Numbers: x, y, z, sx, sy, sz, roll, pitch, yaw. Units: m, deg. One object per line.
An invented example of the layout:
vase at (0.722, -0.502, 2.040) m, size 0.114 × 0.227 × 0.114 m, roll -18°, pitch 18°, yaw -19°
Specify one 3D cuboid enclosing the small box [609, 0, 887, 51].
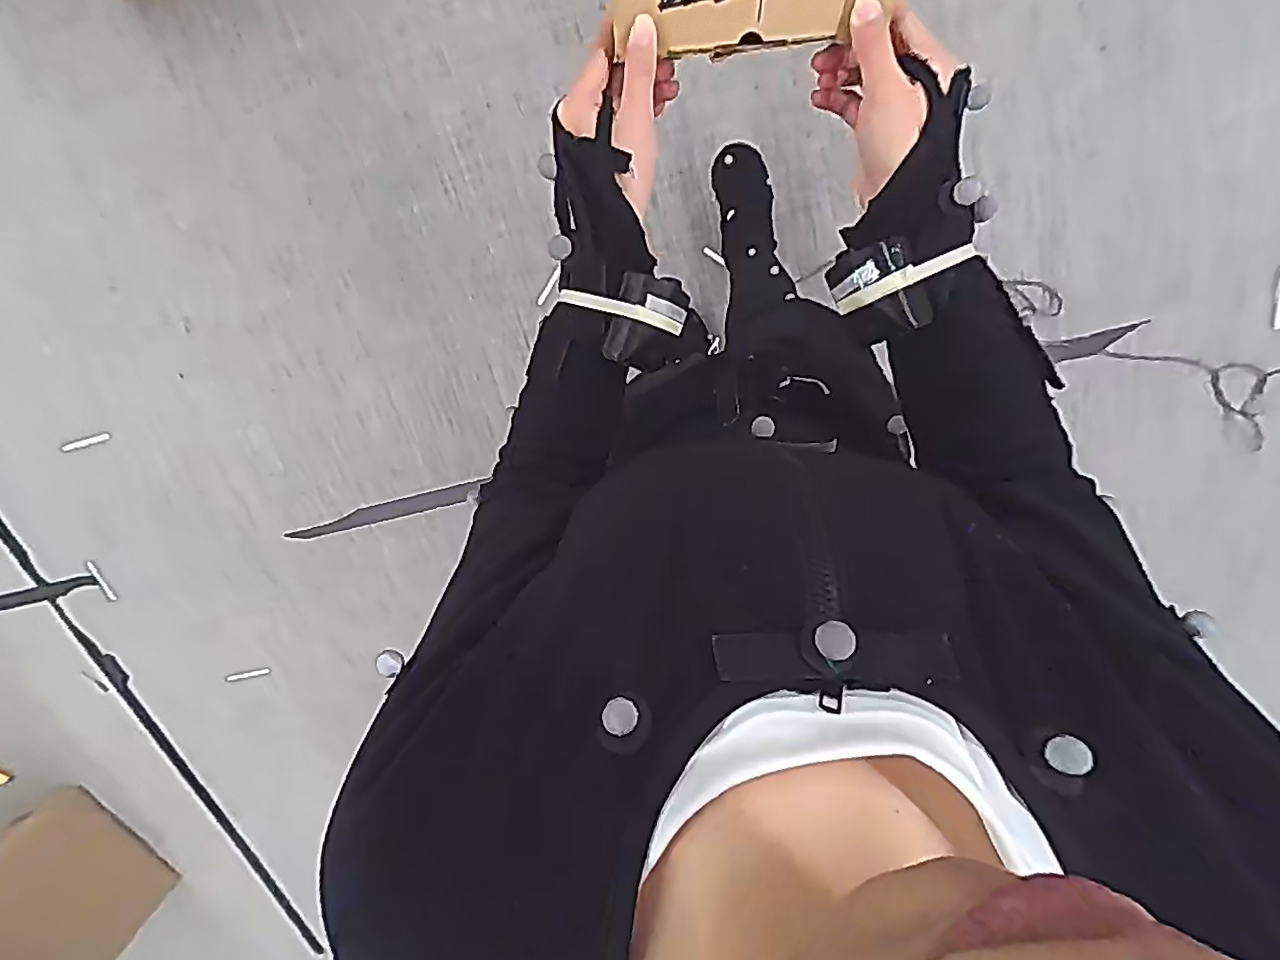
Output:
small box at (0.063, -0.386, 0.338) m, size 0.168 × 0.176 × 0.179 m, roll -2°, pitch 127°, yaw 4°
